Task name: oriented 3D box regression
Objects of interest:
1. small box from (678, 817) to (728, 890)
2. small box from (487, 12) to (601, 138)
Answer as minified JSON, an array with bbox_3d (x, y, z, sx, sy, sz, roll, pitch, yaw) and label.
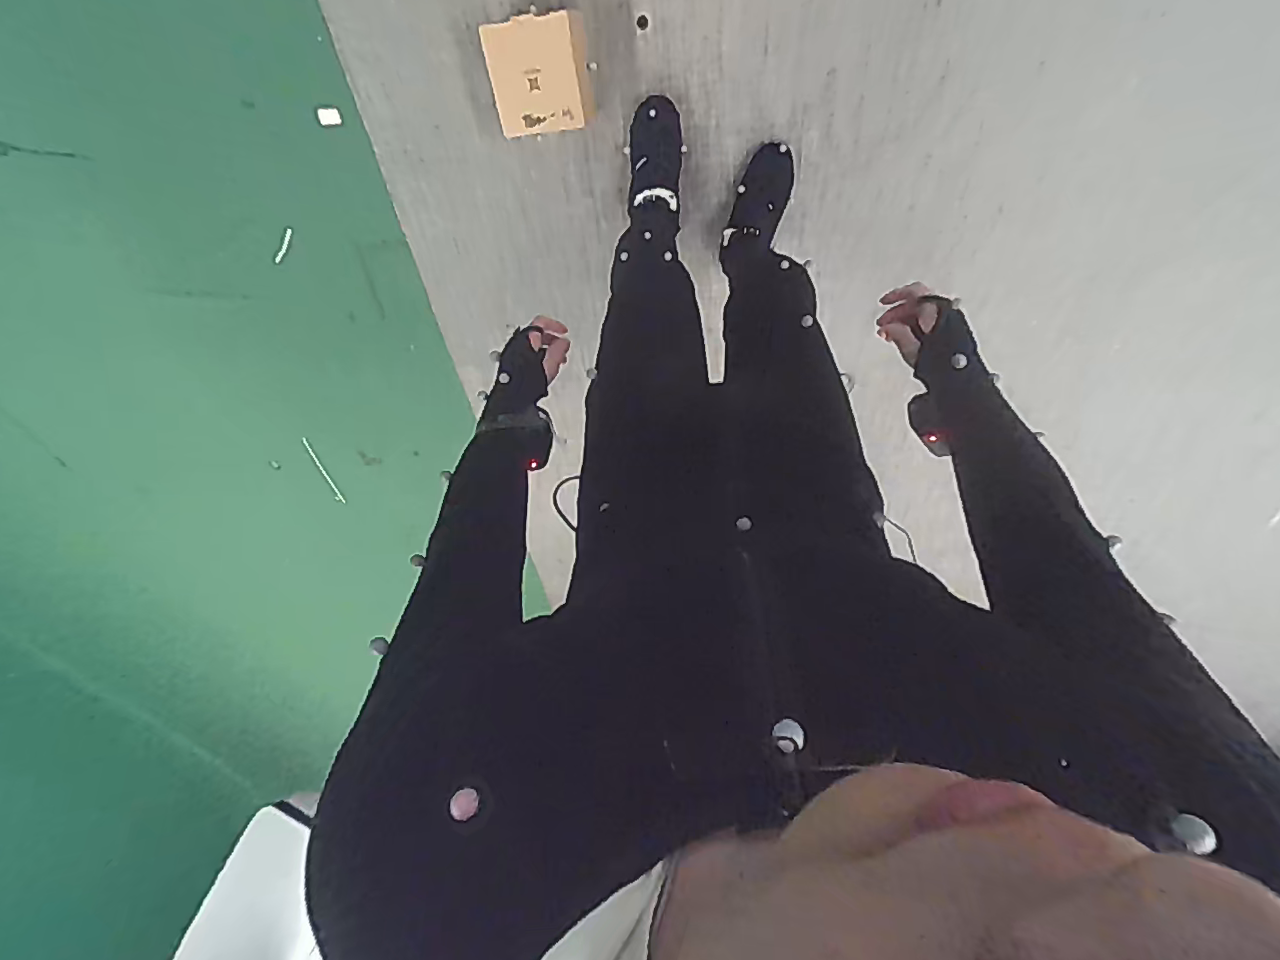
[{"bbox_3d":[0.228,1.326,1.921,0.168,0.176,0.179,-2,130,9],"label":"small box"},{"bbox_3d":[-0.178,-0.797,1.068,0.168,0.176,0.179,-2,130,9],"label":"small box"}]
